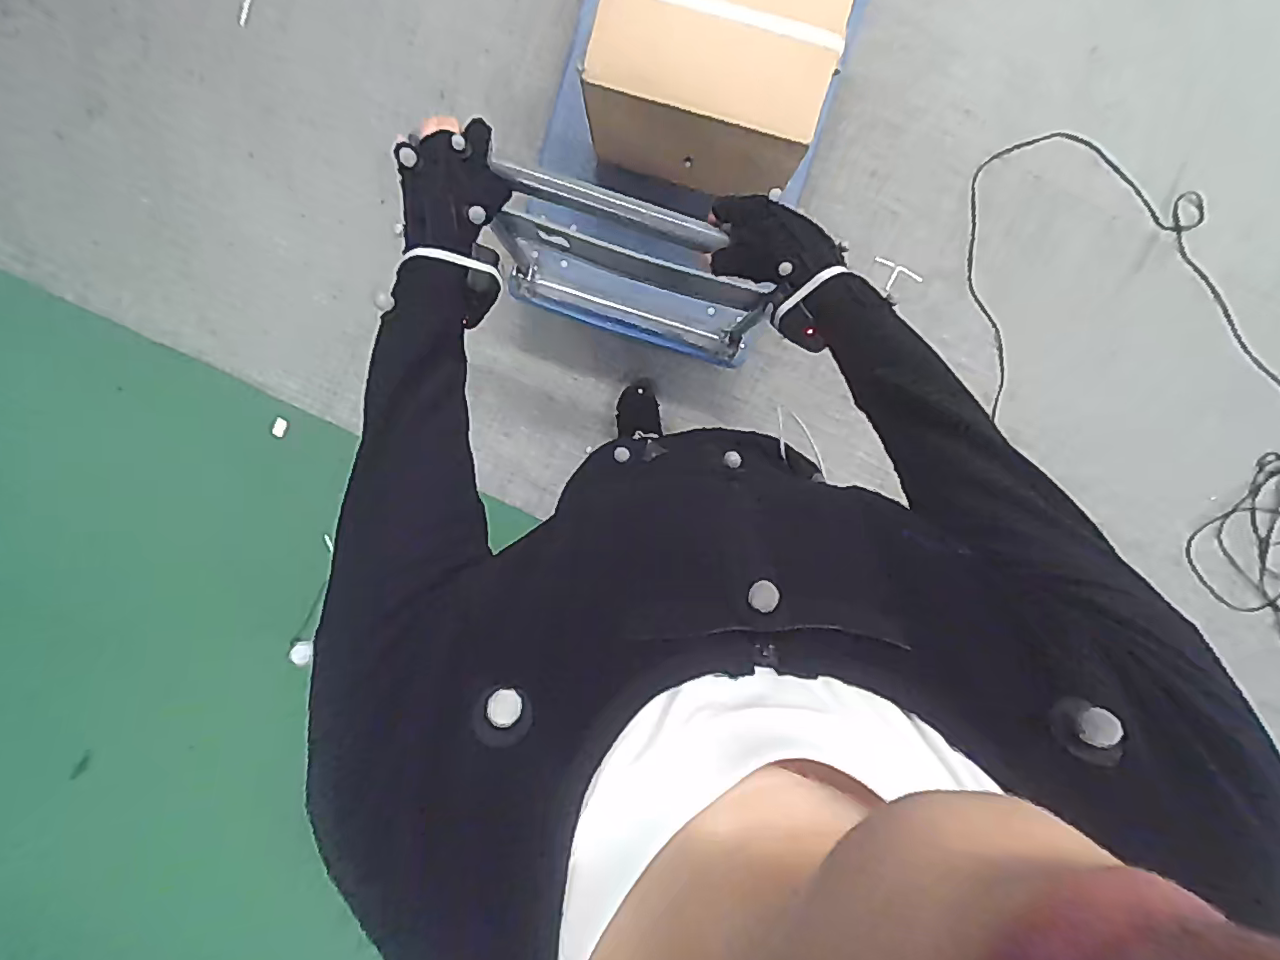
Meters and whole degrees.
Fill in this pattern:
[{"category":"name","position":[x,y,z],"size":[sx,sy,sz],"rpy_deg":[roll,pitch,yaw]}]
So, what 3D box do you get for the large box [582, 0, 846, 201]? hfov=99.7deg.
[{"category":"large box","position":[0.135,-0.790,1.043],"size":[0.408,0.320,0.320],"rpy_deg":[15,98,-1]}]
